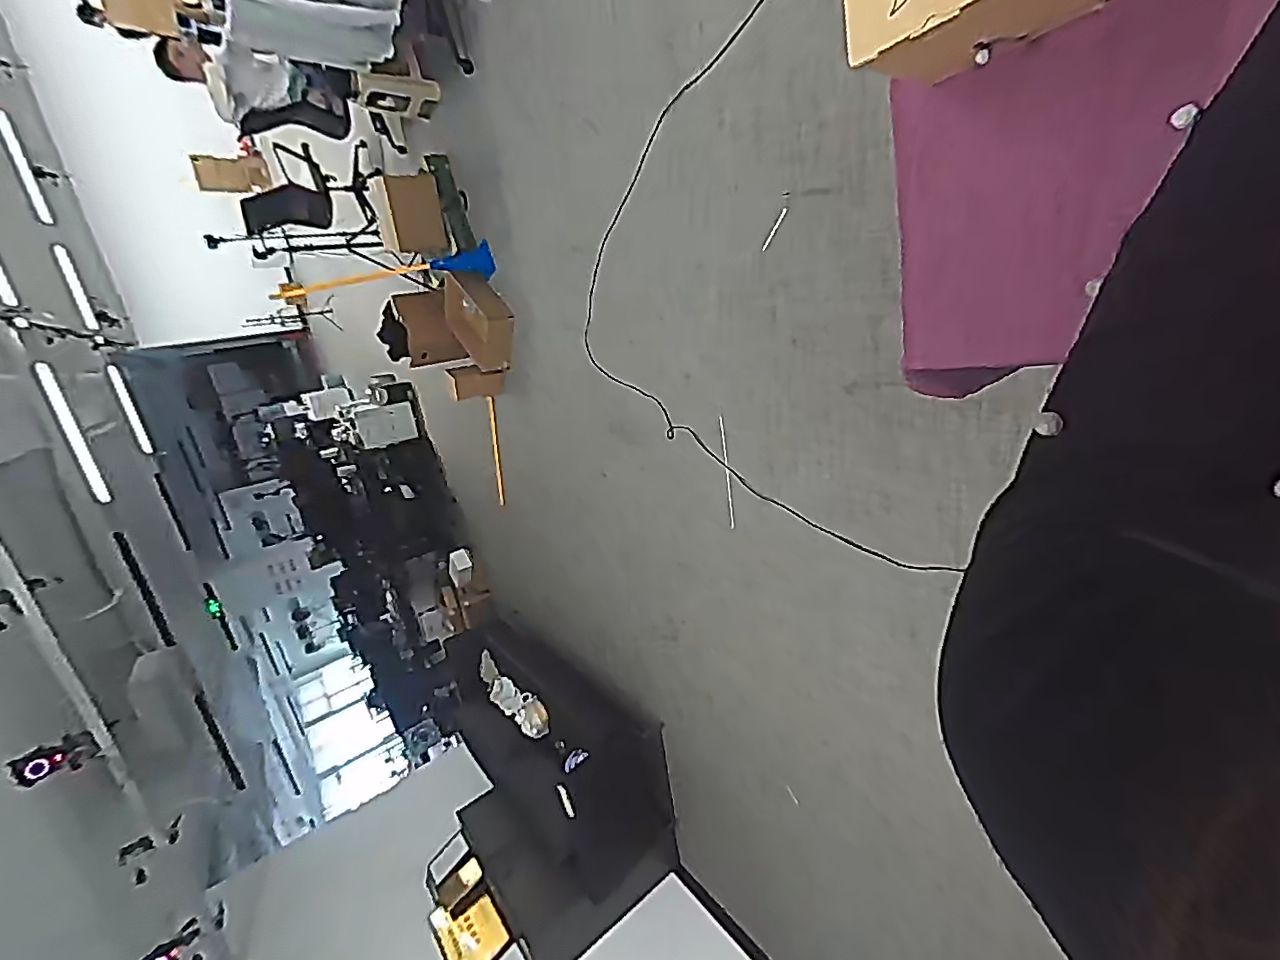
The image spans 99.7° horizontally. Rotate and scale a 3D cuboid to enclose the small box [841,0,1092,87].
[{"bbox_3d":[0.311,-0.513,0.516,0.168,0.176,0.179,12,117,52],"label":"small box"}]
